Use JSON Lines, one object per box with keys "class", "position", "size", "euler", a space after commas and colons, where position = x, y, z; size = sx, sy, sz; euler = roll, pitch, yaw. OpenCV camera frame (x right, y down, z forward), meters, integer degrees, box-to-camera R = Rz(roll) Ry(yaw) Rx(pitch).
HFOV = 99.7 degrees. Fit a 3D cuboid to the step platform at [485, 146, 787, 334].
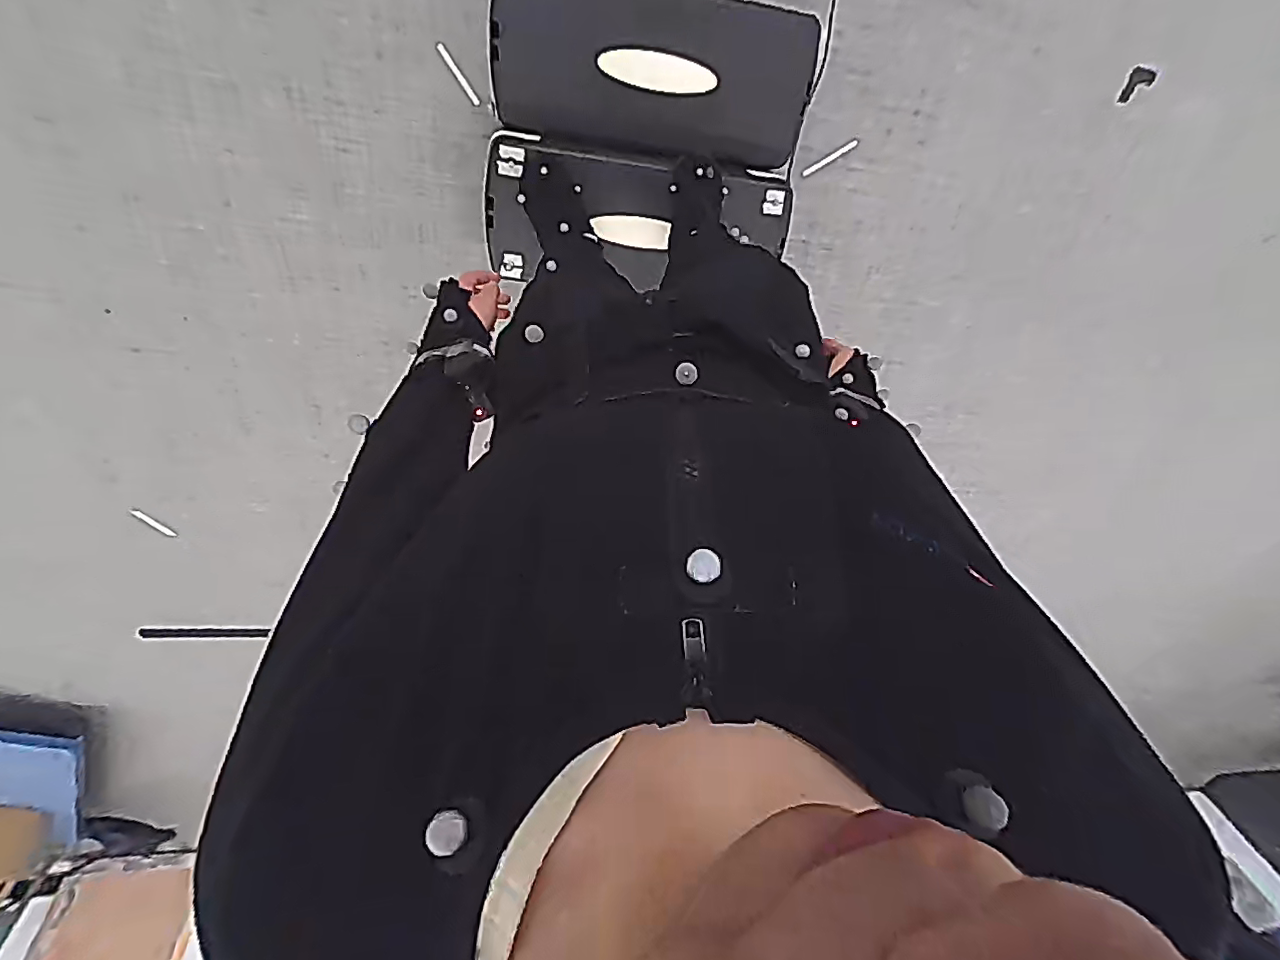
{"class": "step platform", "position": [-0.010, -0.551, 1.274], "size": [0.684, 0.204, 0.286], "euler": [7, 122, -11]}
